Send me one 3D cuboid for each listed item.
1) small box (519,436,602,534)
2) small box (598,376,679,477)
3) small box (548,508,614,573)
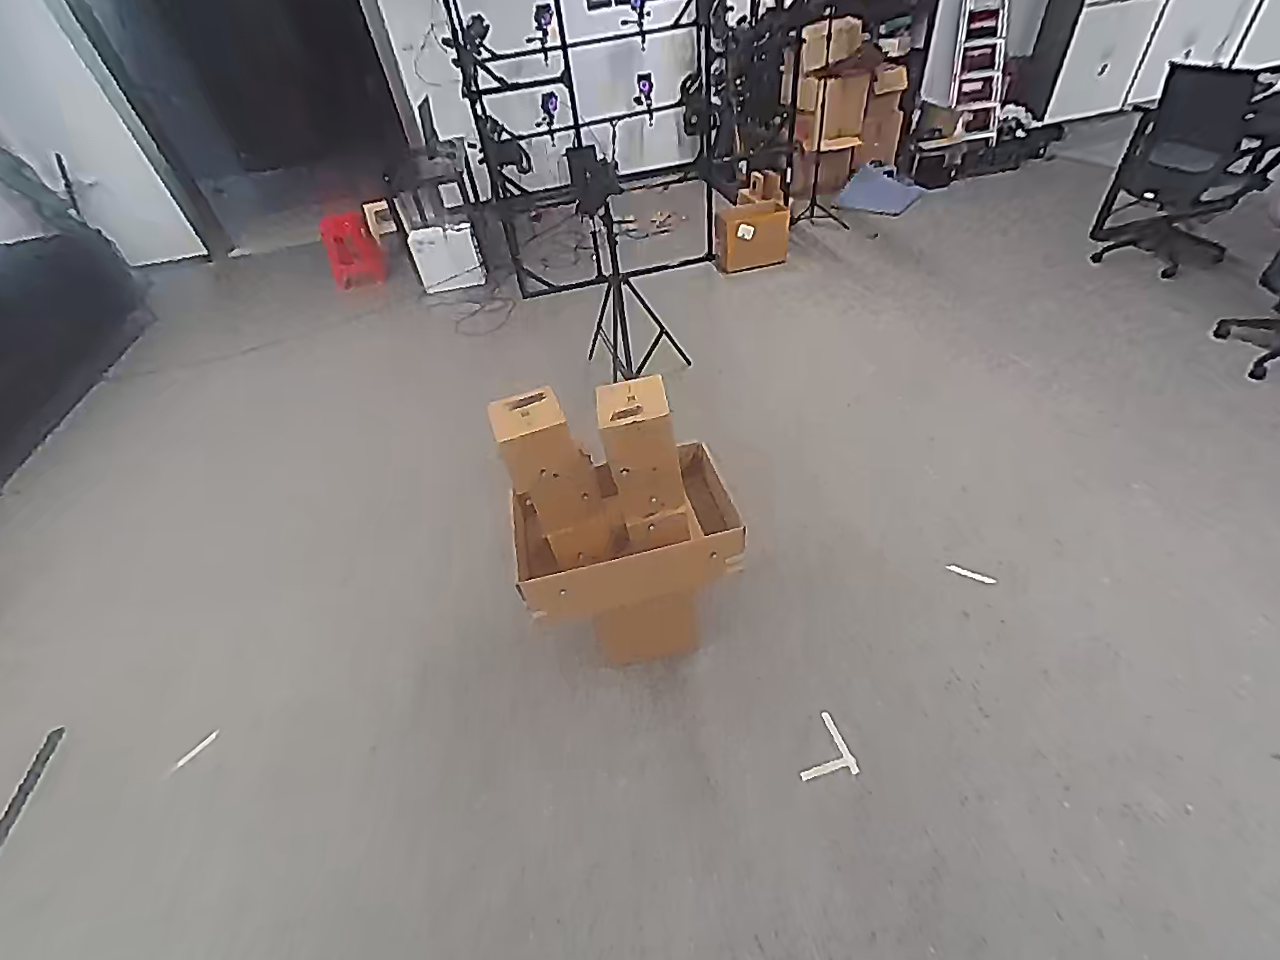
[{"bbox_3d":[-0.207,0.014,1.450,0.179,0.176,0.168,-19,43,-11],"label":"small box"},{"bbox_3d":[-0.003,-0.122,1.315,0.168,0.176,0.179,-11,43,3],"label":"small box"},{"bbox_3d":[-0.184,0.136,1.556,0.168,0.176,0.179,-19,44,-10],"label":"small box"}]
